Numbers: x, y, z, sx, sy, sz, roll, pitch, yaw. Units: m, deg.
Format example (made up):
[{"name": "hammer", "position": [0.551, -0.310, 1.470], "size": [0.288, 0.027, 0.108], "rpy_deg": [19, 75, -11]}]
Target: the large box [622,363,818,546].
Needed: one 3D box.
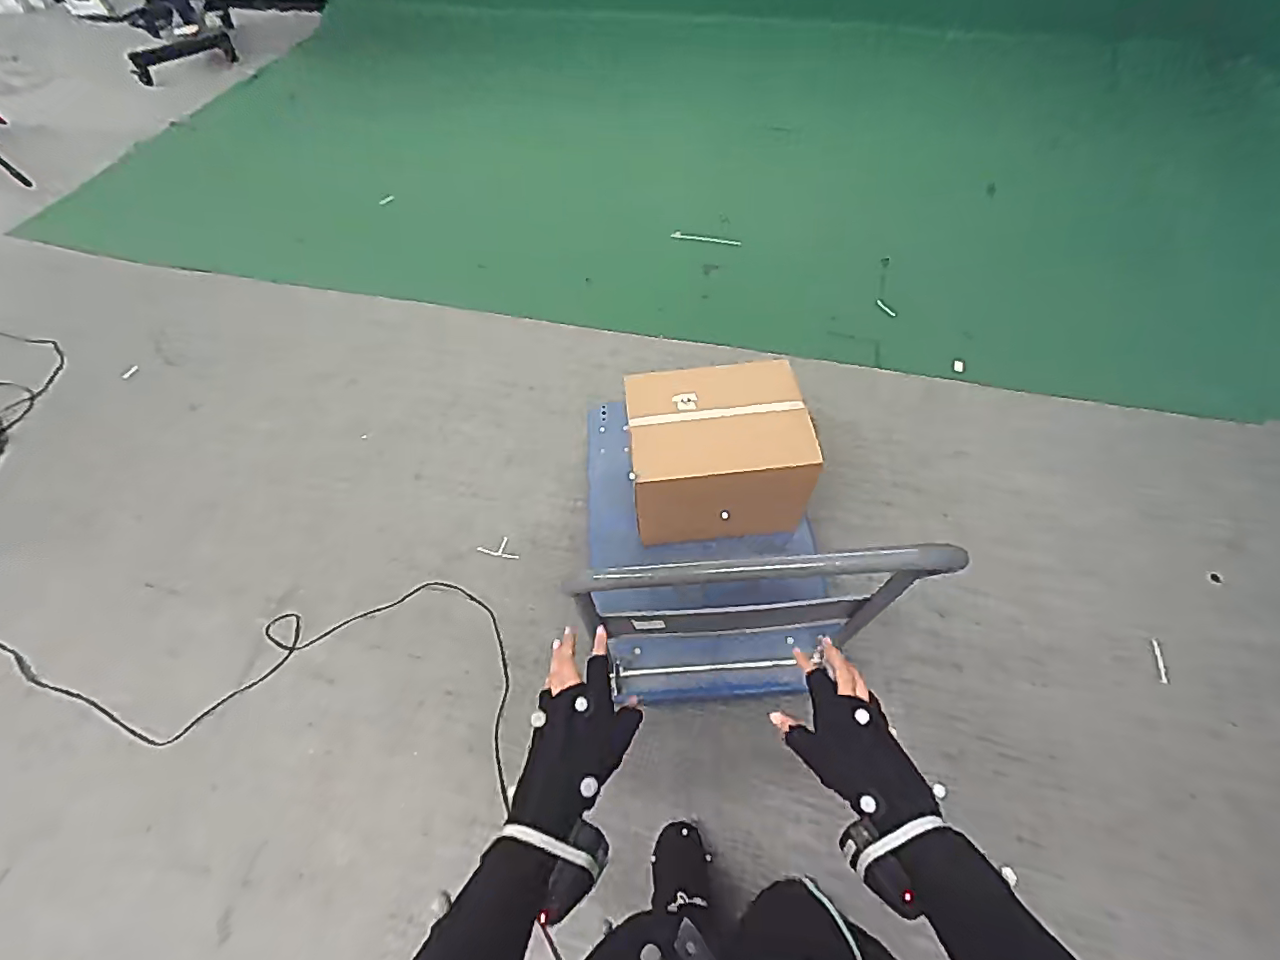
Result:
[{"name": "large box", "position": [0.181, -0.054, 1.352], "size": [0.408, 0.320, 0.320], "rpy_deg": [-7, 56, 0]}]
